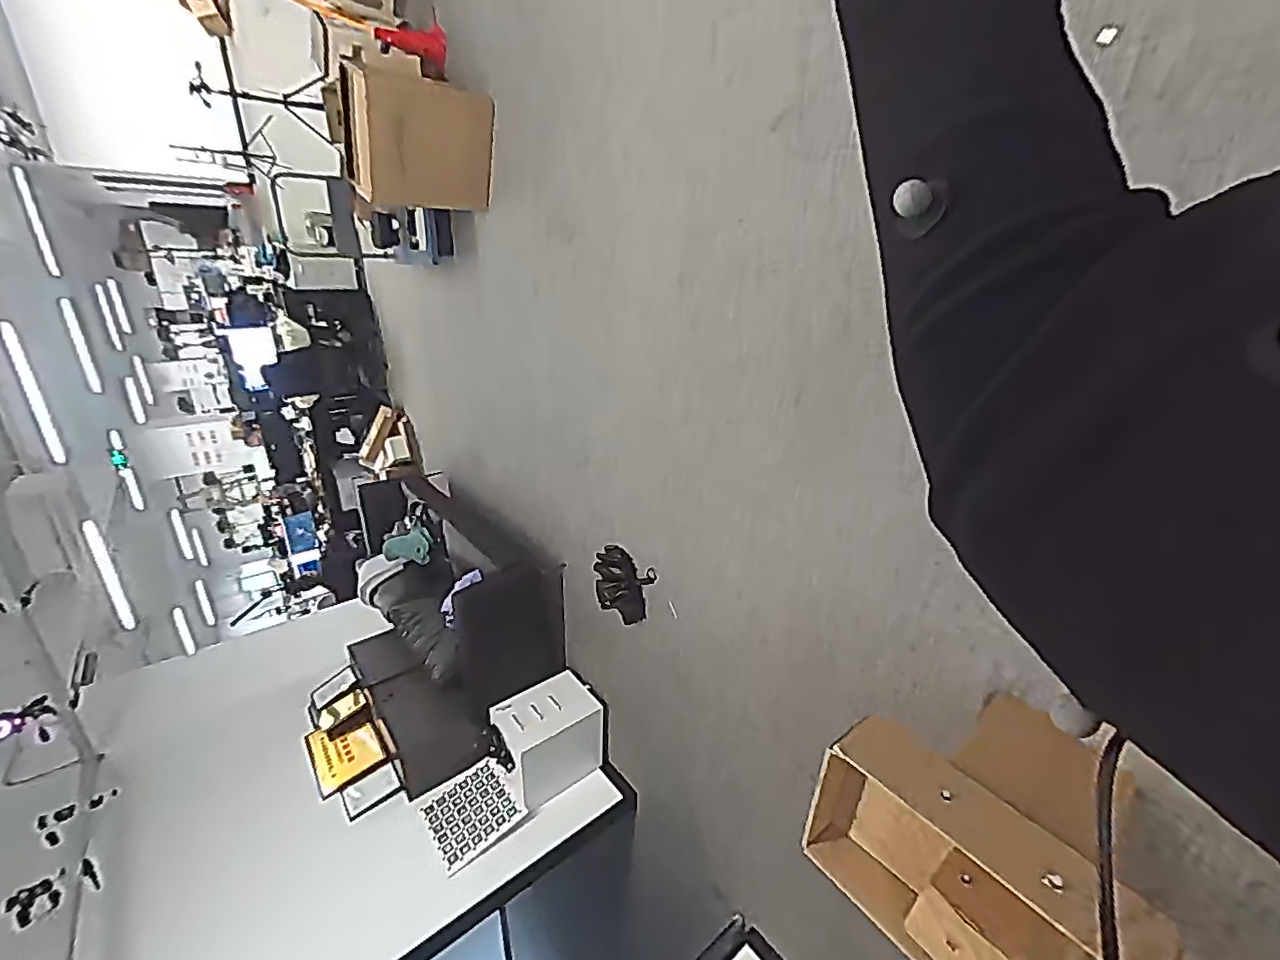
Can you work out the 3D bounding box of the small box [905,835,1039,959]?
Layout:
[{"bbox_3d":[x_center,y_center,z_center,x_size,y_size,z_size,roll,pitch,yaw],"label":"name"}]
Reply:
[{"bbox_3d":[0.699,0.904,1.138,0.168,0.176,0.179,34,131,45],"label":"small box"}]
